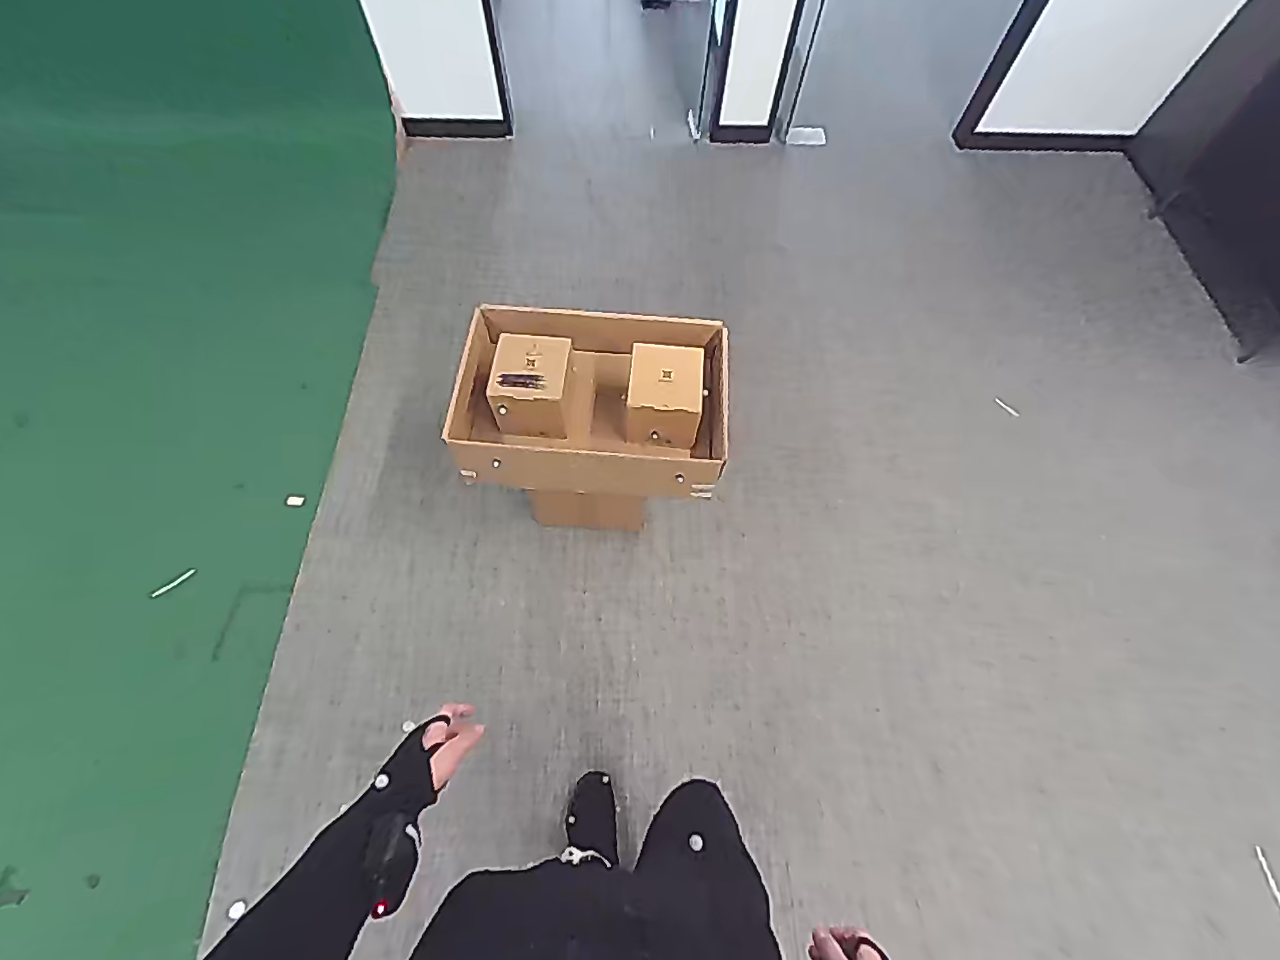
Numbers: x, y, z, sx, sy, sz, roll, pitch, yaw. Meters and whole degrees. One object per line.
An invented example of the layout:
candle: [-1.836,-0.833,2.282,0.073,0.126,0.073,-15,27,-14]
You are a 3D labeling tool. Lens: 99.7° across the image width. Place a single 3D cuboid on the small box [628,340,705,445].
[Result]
small box: [0.060,-0.205,1.277,0.168,0.176,0.179,4,65,0]
